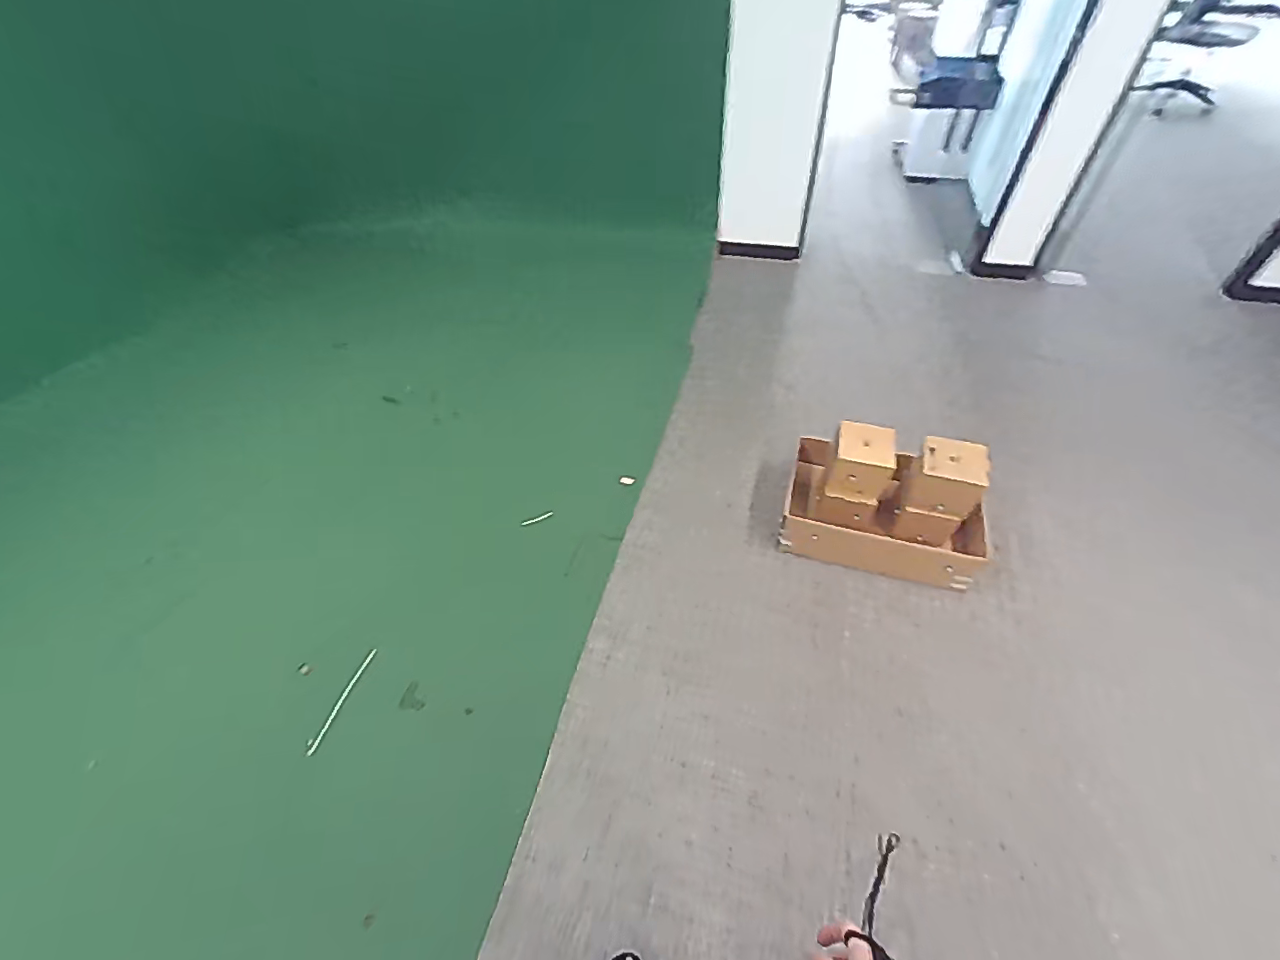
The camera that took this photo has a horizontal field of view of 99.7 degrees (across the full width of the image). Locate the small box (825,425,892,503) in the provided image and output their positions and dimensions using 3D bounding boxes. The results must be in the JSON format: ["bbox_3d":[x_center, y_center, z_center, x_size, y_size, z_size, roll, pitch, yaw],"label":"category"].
[{"bbox_3d":[0.702,-0.049,1.743,0.168,0.176,0.179,11,50,10],"label":"small box"}]

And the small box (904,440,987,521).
[{"bbox_3d":[0.944,0.005,1.677,0.179,0.176,0.168,14,52,15],"label":"small box"}]
